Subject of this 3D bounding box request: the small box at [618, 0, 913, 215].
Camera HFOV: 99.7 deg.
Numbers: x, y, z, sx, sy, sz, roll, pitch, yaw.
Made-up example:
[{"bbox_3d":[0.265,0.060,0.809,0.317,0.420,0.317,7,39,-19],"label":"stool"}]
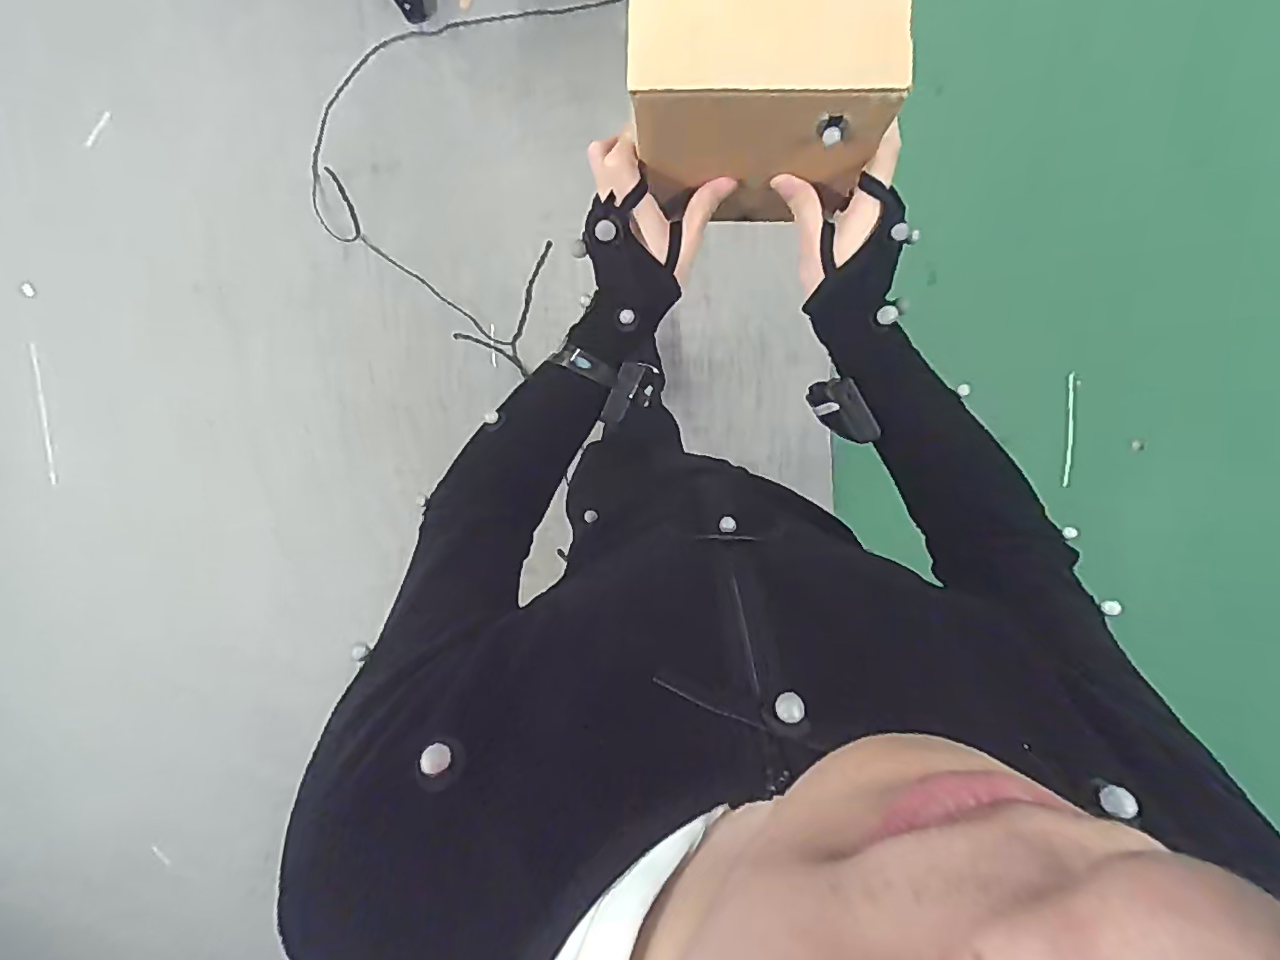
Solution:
[{"bbox_3d":[0.080,-0.318,0.403,0.179,0.176,0.168,1,89,2],"label":"small box"}]
